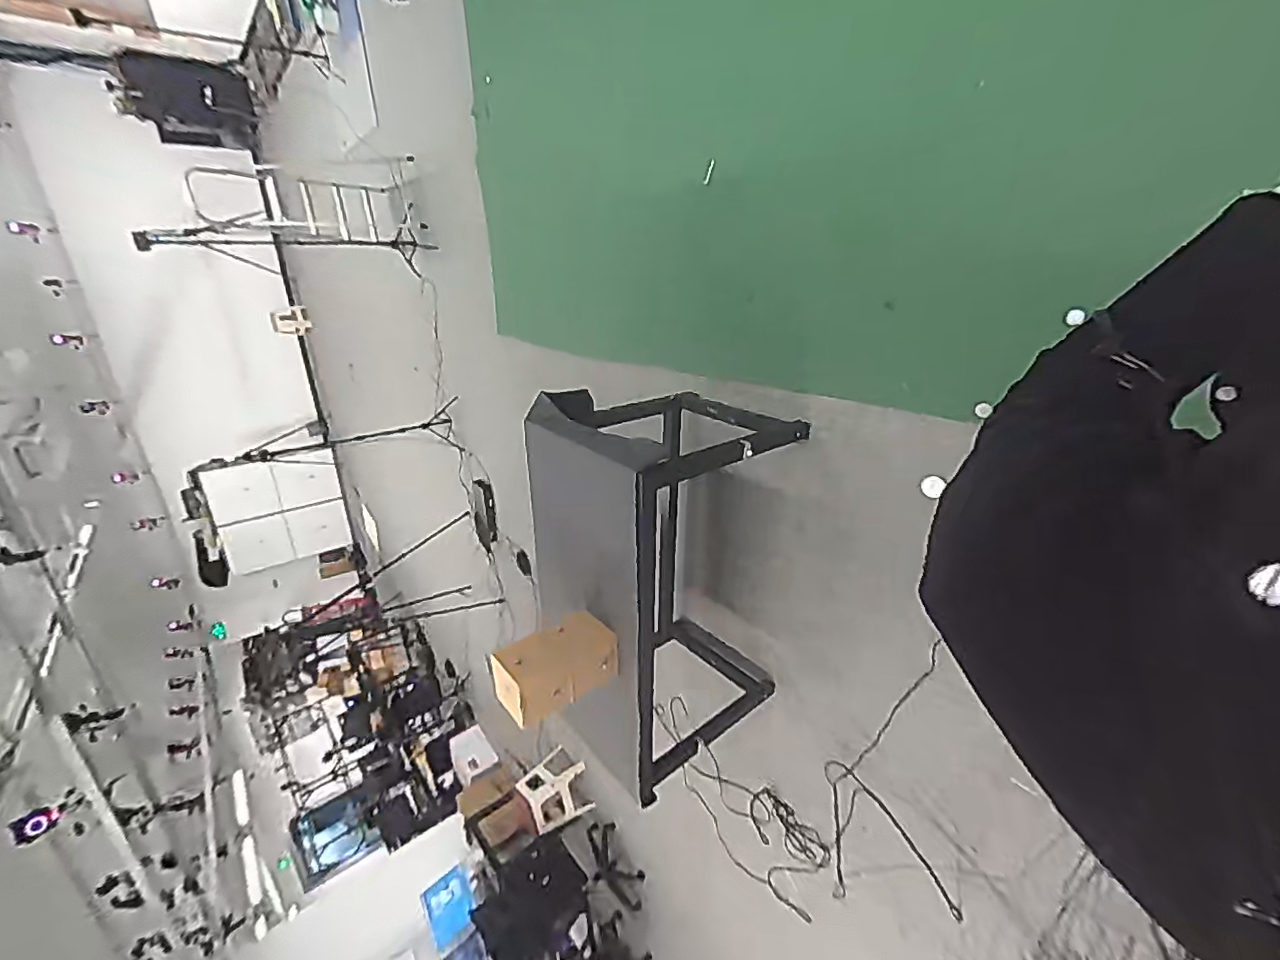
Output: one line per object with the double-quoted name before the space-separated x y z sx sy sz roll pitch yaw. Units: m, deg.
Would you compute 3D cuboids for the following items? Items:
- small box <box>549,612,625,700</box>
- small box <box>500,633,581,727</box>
"small box" -0.163 0.534 1.675 0.179 0.176 0.168 24 124 47
"small box" -0.290 0.574 1.582 0.179 0.176 0.168 24 123 47
